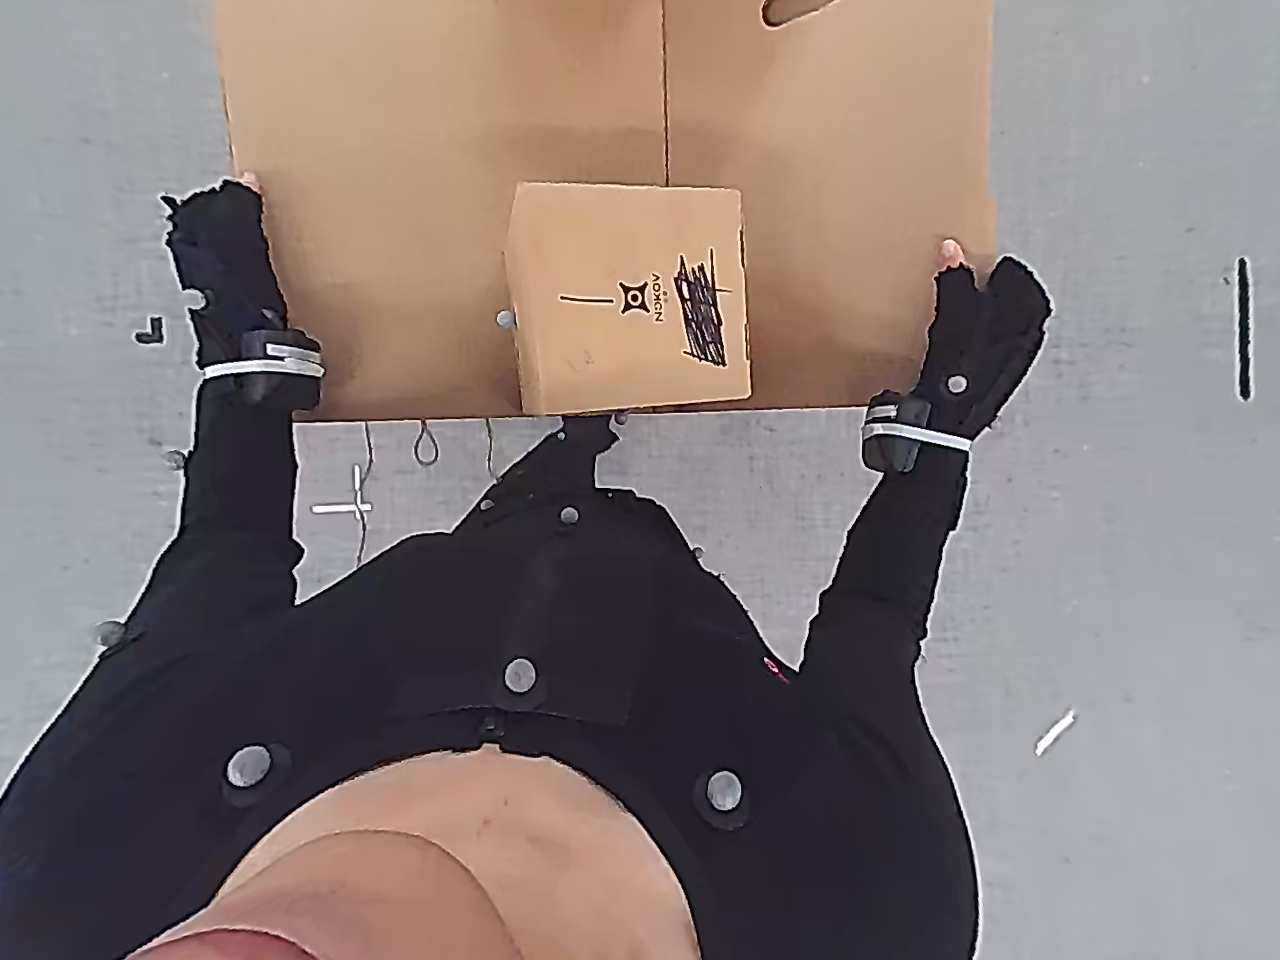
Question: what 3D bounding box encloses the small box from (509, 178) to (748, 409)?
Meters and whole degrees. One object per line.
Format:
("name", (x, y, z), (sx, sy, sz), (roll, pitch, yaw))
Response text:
("small box", (-0.019, -0.155, 0.498), (0.179, 0.176, 0.168), (-7, 99, -16))
